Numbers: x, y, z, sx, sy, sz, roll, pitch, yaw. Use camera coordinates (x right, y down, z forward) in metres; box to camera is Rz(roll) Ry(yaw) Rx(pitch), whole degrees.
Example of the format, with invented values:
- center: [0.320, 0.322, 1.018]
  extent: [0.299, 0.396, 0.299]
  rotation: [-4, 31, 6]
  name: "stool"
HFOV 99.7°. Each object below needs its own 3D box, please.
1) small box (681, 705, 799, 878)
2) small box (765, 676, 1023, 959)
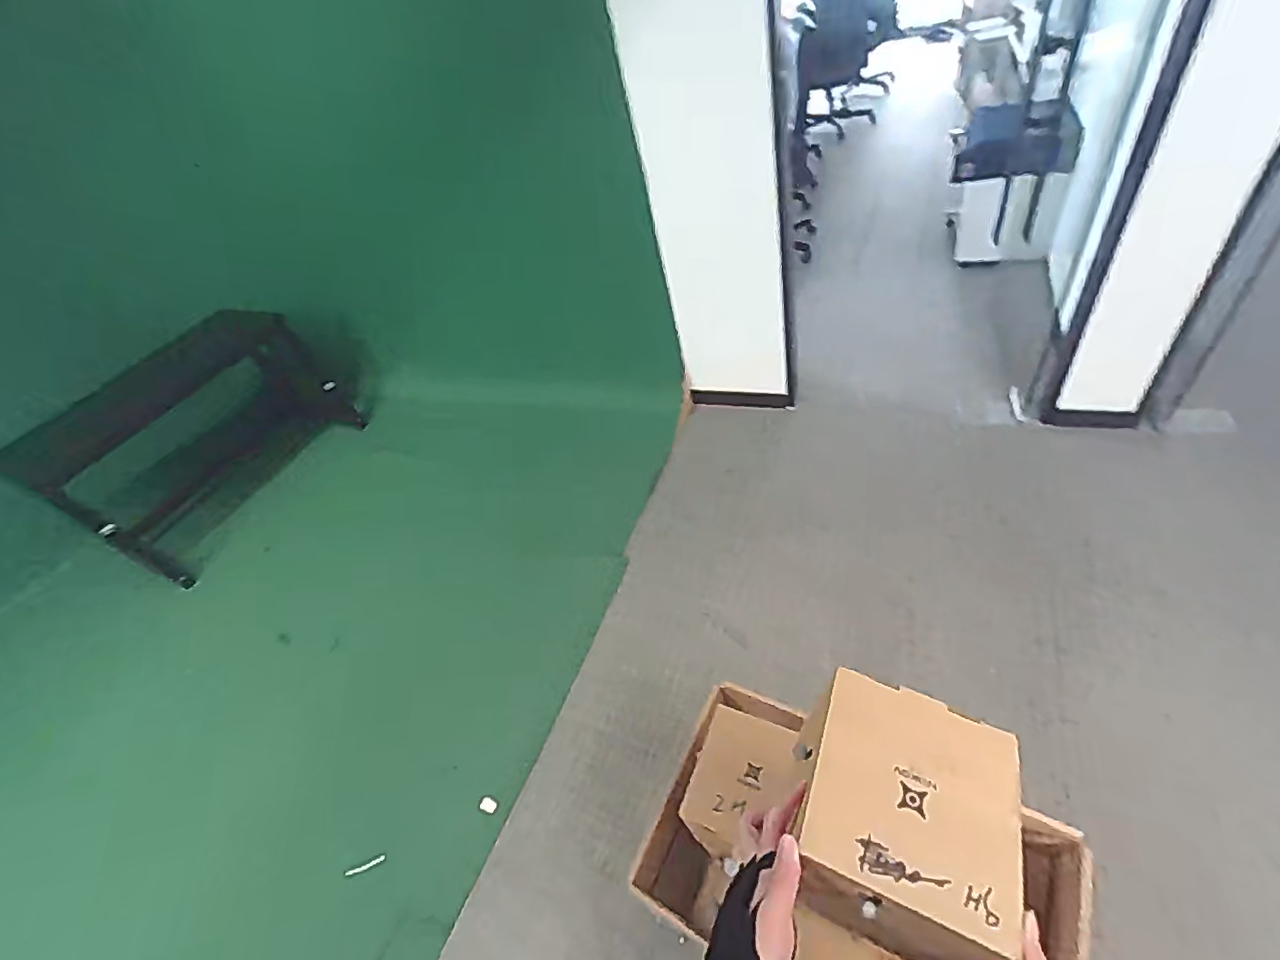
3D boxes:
- center: [0.182, 0.496, 0.854]
  extent: [0.168, 0.176, 0.179]
  rotation: [12, 52, 27]
  name: "small box"
- center: [0.231, 0.330, 0.519]
  extent: [0.168, 0.176, 0.179]
  rotation: [19, 49, 15]
  name: "small box"
